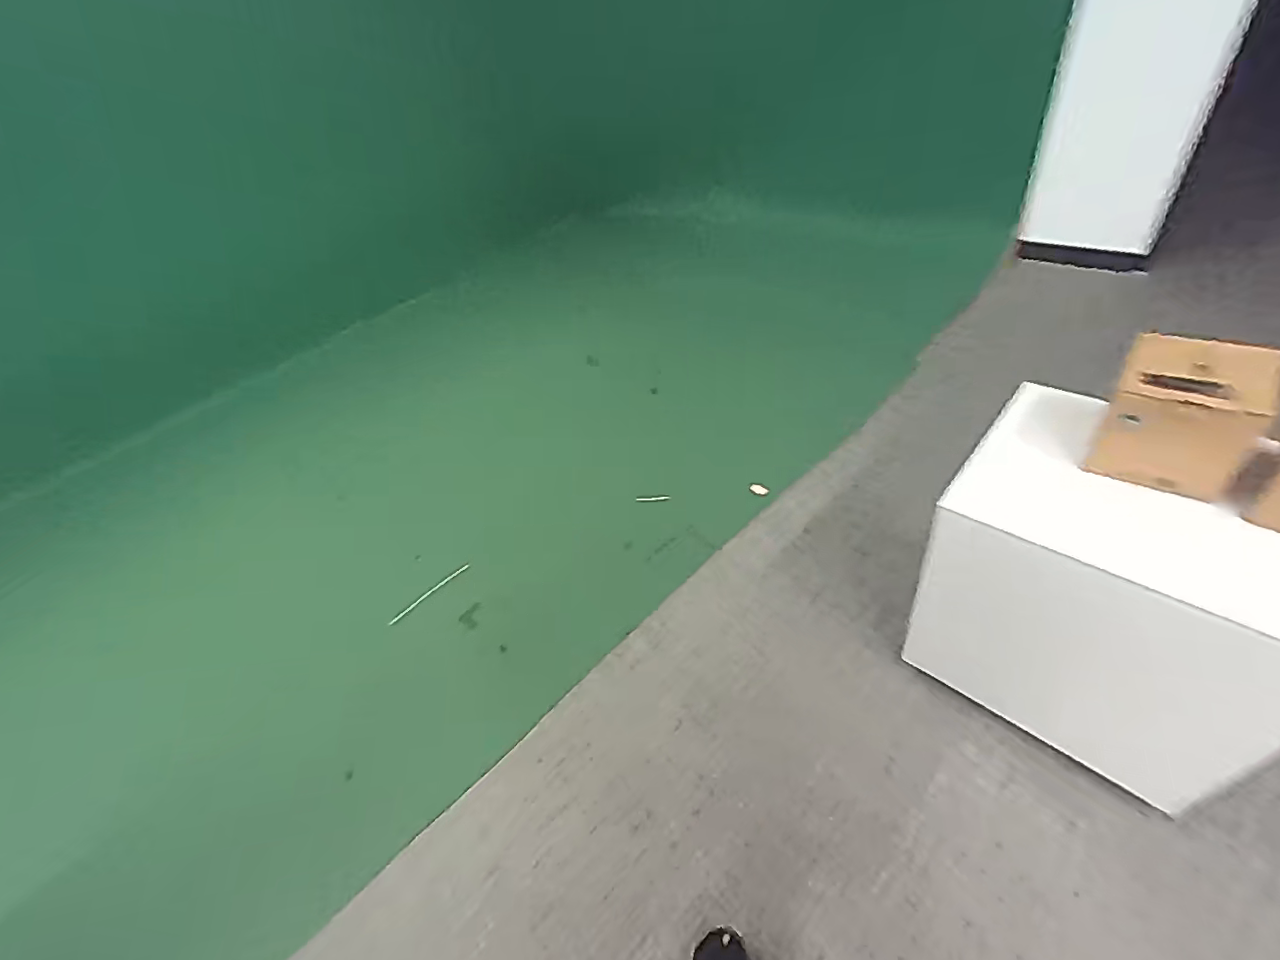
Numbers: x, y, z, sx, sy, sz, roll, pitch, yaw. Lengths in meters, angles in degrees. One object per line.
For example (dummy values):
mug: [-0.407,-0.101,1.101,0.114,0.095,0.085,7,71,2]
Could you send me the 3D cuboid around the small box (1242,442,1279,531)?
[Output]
small box: [0.973,-0.011,0.722,0.179,0.176,0.168,-38,47,-22]
